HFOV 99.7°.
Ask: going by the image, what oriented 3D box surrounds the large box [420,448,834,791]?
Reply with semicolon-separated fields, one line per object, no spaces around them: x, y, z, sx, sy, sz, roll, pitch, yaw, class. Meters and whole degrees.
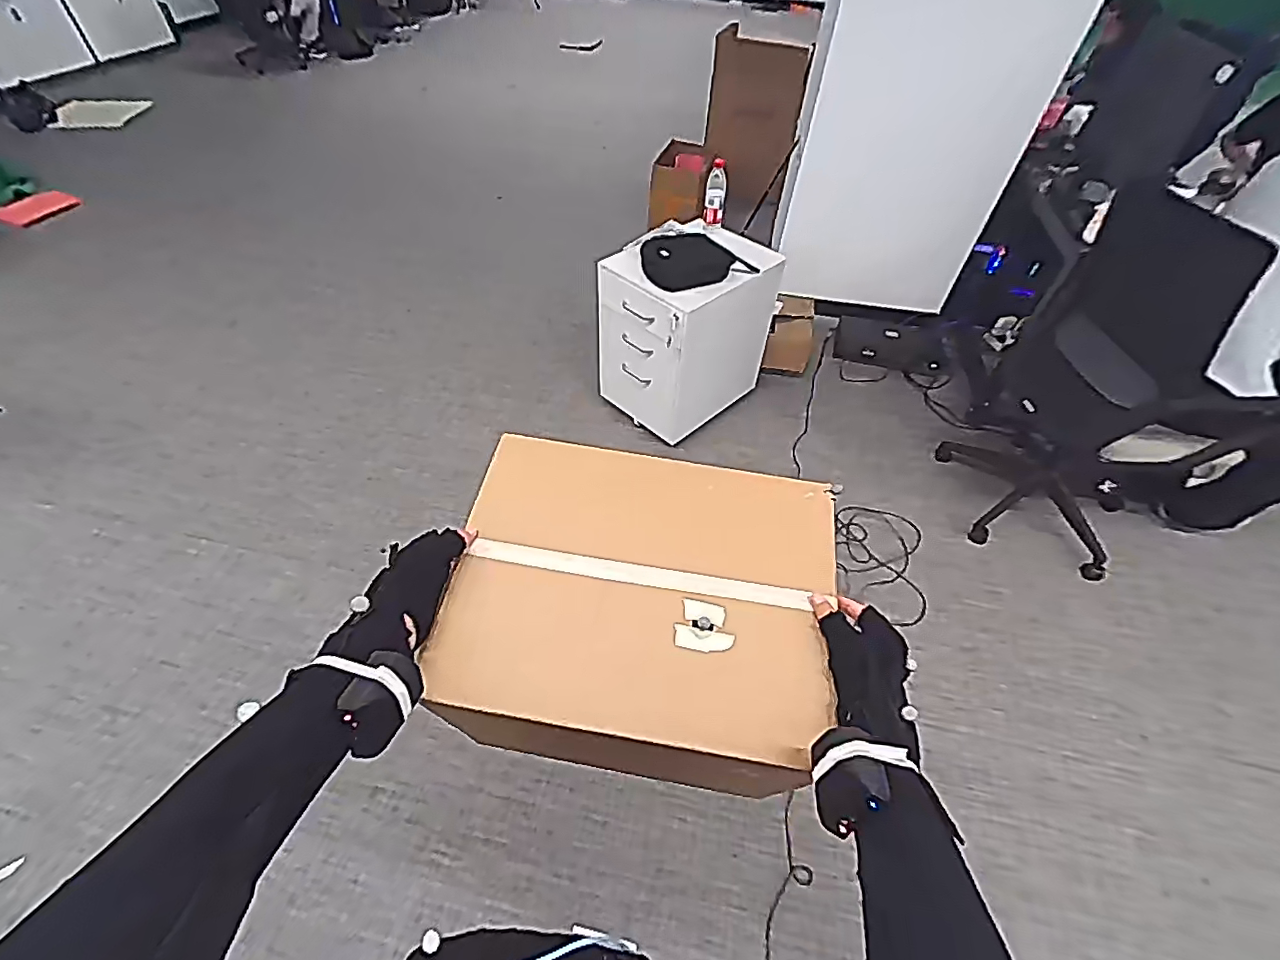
-0.004;0.194;0.711;0.408;0.320;0.320;9;57;2;large box
